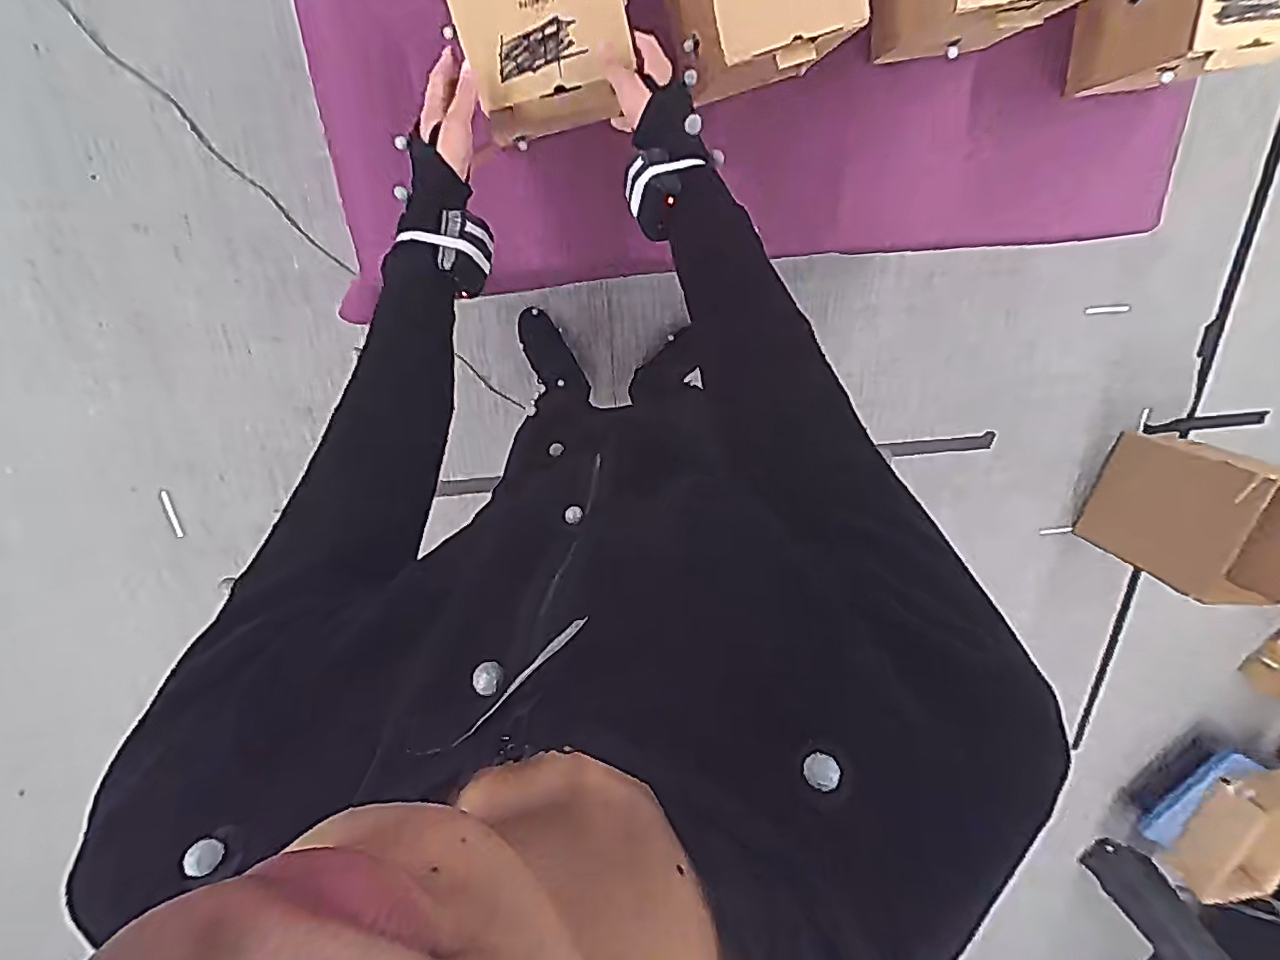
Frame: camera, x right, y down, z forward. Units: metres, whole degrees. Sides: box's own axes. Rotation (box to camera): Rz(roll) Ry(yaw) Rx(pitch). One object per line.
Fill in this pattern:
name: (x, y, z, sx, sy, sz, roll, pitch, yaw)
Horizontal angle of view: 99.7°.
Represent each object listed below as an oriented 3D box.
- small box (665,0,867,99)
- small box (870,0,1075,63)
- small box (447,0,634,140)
small box: (0.129, -0.562, 0.610, 0.168, 0.176, 0.179, -19, 113, -2)
small box: (0.387, -0.624, 0.626, 0.168, 0.176, 0.179, -11, 113, -4)
small box: (-0.114, -0.497, 0.593, 0.168, 0.176, 0.179, -17, 112, -3)
